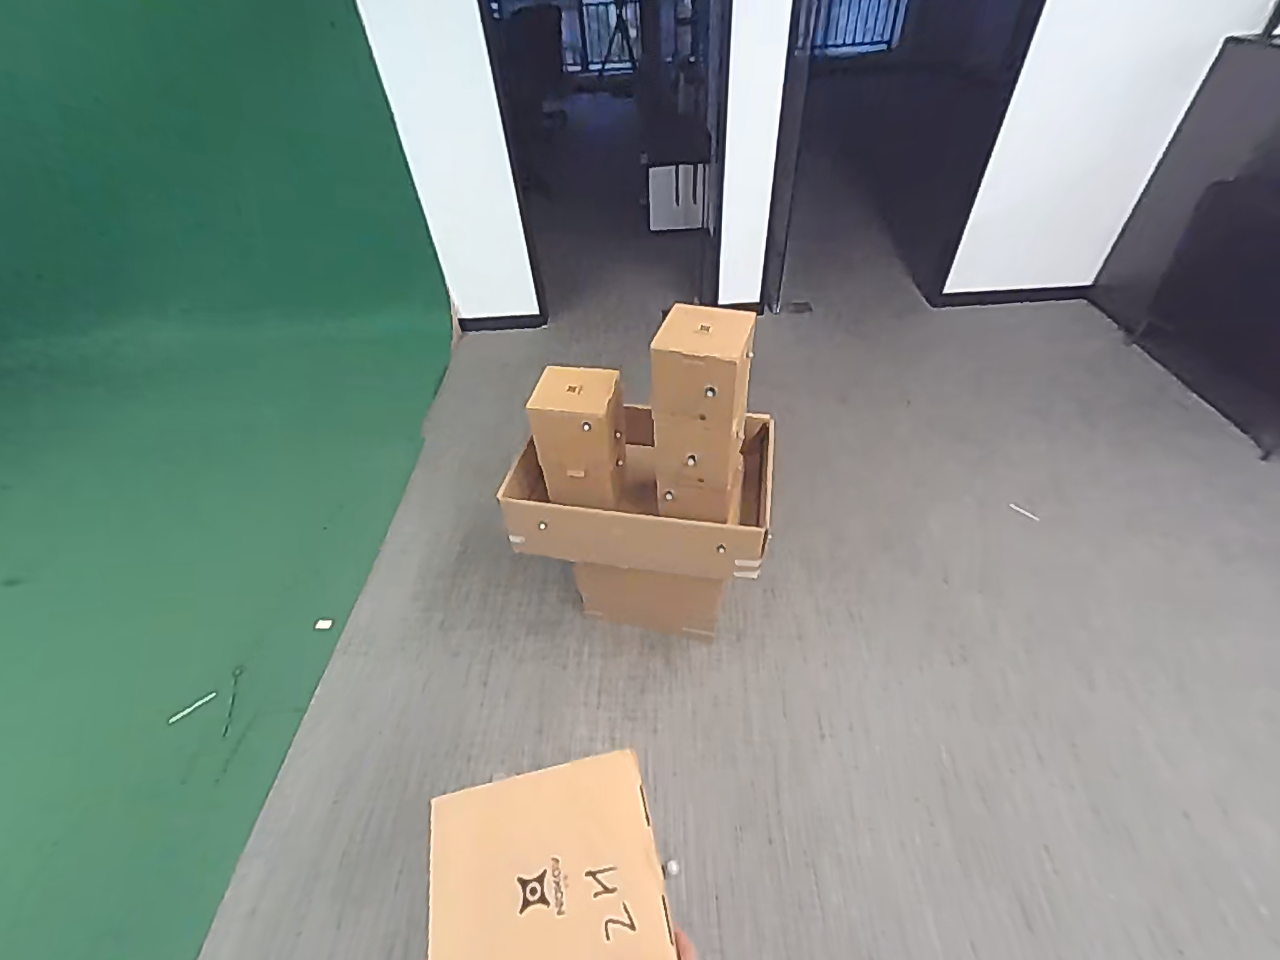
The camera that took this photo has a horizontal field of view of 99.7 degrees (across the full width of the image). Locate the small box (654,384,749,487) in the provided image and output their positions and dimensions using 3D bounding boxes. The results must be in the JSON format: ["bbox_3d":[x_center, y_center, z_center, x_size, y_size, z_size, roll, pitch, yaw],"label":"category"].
[{"bbox_3d":[0.138,-0.108,1.185,0.168,0.176,0.179,11,48,15],"label":"small box"}]

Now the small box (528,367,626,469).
[{"bbox_3d":[-0.136,-0.141,1.246,0.179,0.176,0.168,6,46,9],"label":"small box"}]

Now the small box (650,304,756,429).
[{"bbox_3d":[0.127,-0.224,1.069,0.168,0.176,0.179,12,46,16],"label":"small box"}]

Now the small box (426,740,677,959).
[{"bbox_3d":[-0.070,0.353,0.477,0.179,0.176,0.168,-11,52,-4],"label":"small box"}]
